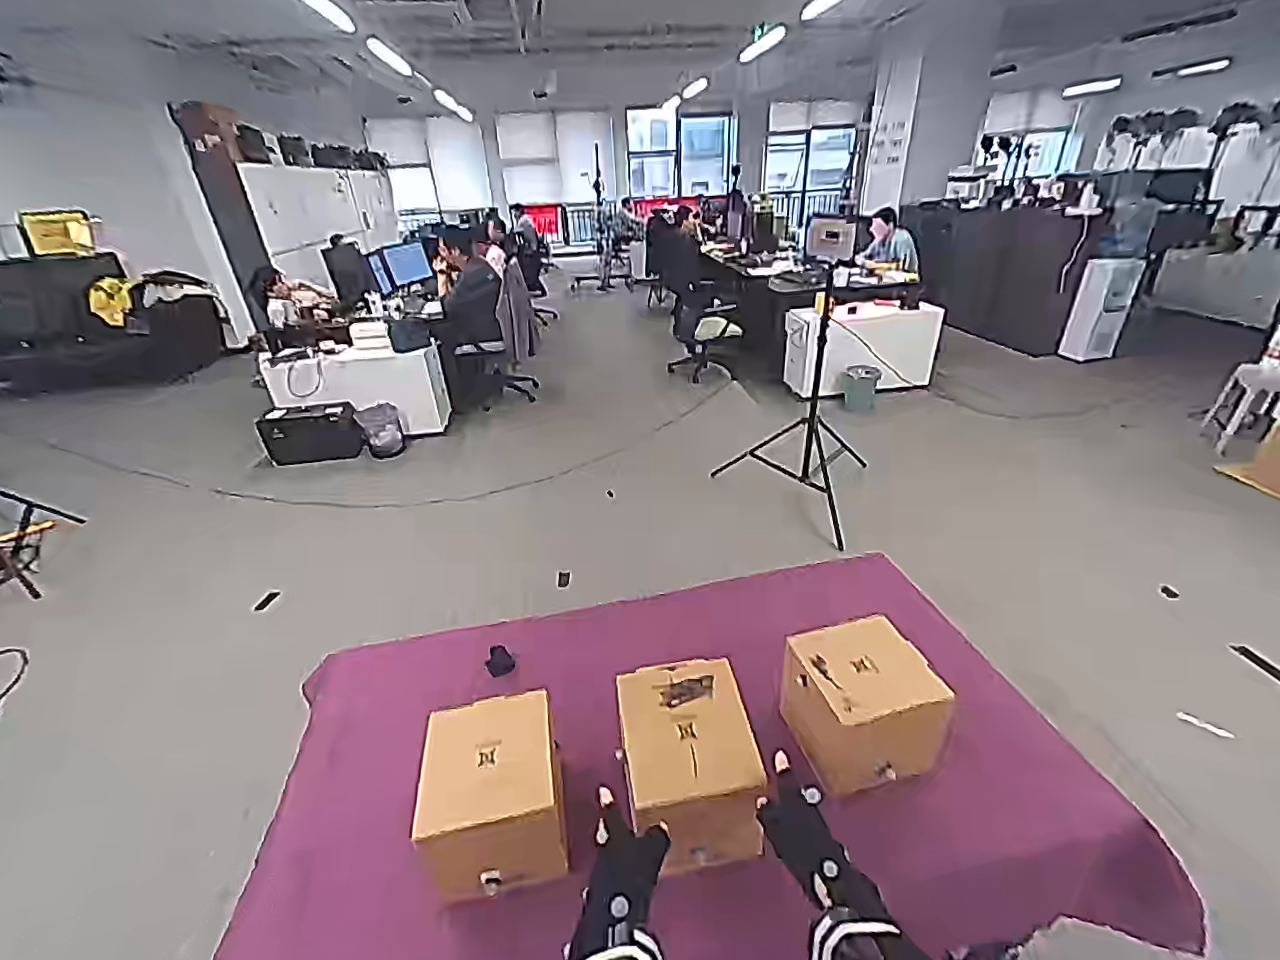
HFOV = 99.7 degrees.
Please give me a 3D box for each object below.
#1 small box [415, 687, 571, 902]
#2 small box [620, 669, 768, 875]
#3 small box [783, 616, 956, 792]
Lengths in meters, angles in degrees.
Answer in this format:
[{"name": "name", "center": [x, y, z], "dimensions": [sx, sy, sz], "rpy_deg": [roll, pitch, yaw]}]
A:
[{"name": "small box", "center": [-0.191, 0.423, 0.740], "dimensions": [0.168, 0.176, 0.179], "rpy_deg": [-9, 30, -9]}, {"name": "small box", "center": [0.066, 0.399, 0.752], "dimensions": [0.168, 0.176, 0.179], "rpy_deg": [-8, 29, -7]}, {"name": "small box", "center": [0.337, 0.341, 0.832], "dimensions": [0.179, 0.176, 0.168], "rpy_deg": [-9, 29, -10]}]
